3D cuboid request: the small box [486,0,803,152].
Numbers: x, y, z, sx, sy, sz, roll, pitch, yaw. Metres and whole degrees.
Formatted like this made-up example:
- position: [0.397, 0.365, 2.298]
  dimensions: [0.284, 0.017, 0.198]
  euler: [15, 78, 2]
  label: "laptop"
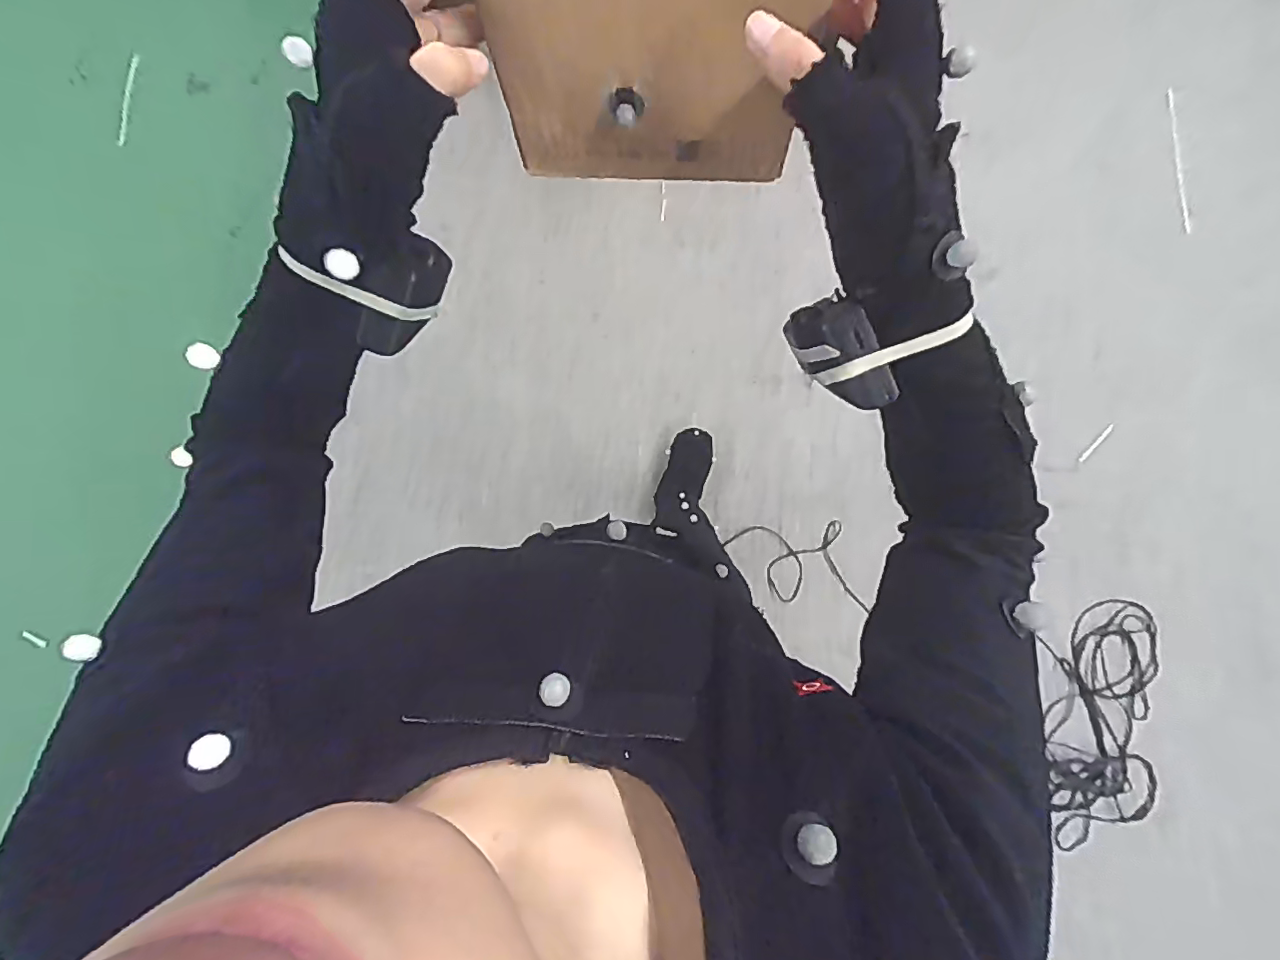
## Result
- position: [0.004, -0.316, 0.286]
  dimensions: [0.168, 0.176, 0.179]
  euler: [3, 78, 2]
  label: "small box"
